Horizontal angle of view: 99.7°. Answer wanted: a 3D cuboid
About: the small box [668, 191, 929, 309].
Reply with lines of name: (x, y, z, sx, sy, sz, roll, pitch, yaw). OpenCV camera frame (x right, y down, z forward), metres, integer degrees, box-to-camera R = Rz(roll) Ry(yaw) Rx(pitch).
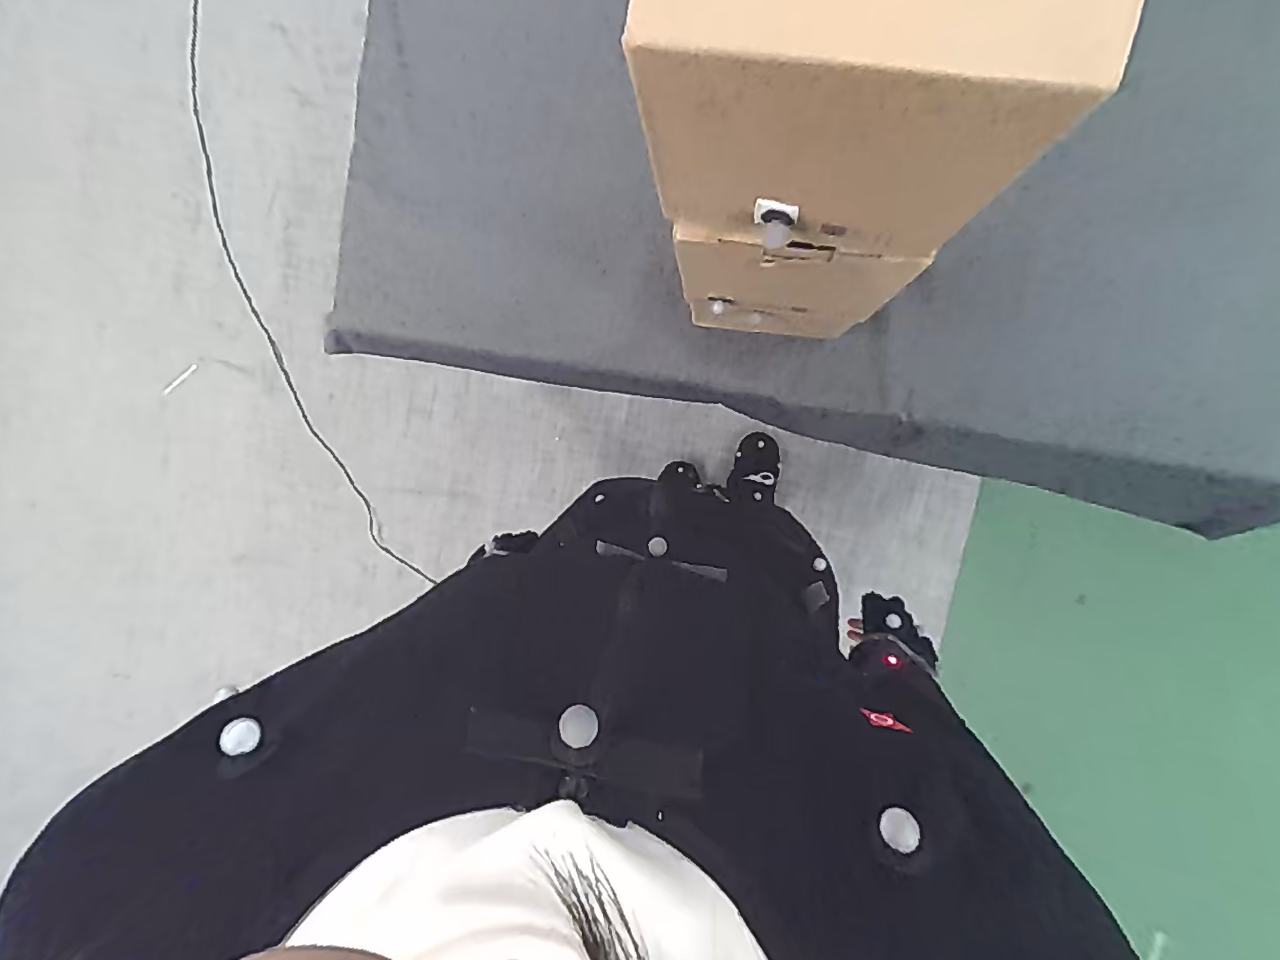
small box: (0.122, -0.242, 0.415, 0.168, 0.176, 0.179, 8, 94, 8)

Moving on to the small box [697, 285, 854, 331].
small box: (0.152, -0.263, 0.578, 0.179, 0.176, 0.168, 4, 93, 8)

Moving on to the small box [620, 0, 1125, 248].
small box: (0.098, -0.235, 0.255, 0.168, 0.176, 0.179, 11, 96, 9)
